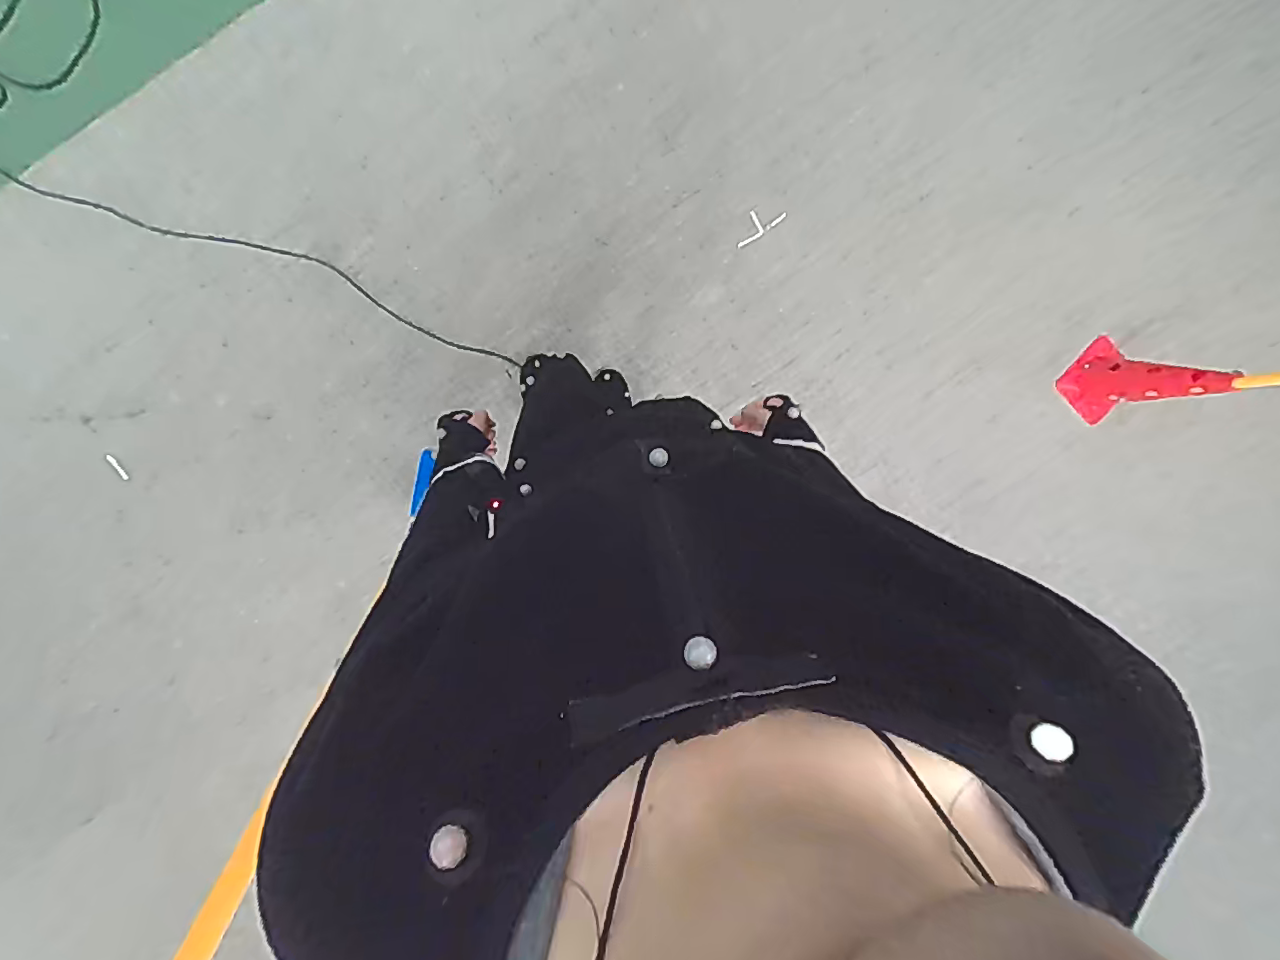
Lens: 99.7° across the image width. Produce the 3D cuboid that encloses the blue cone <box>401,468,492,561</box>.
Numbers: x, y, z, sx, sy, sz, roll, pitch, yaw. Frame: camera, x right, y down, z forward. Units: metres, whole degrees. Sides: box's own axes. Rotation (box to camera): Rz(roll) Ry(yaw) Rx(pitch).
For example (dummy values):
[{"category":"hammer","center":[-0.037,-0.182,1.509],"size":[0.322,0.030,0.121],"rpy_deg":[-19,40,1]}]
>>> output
[{"category":"blue cone","center":[-0.479,0.108,1.283],"size":[0.192,0.380,0.193],"rpy_deg":[11,102,-9]}]
